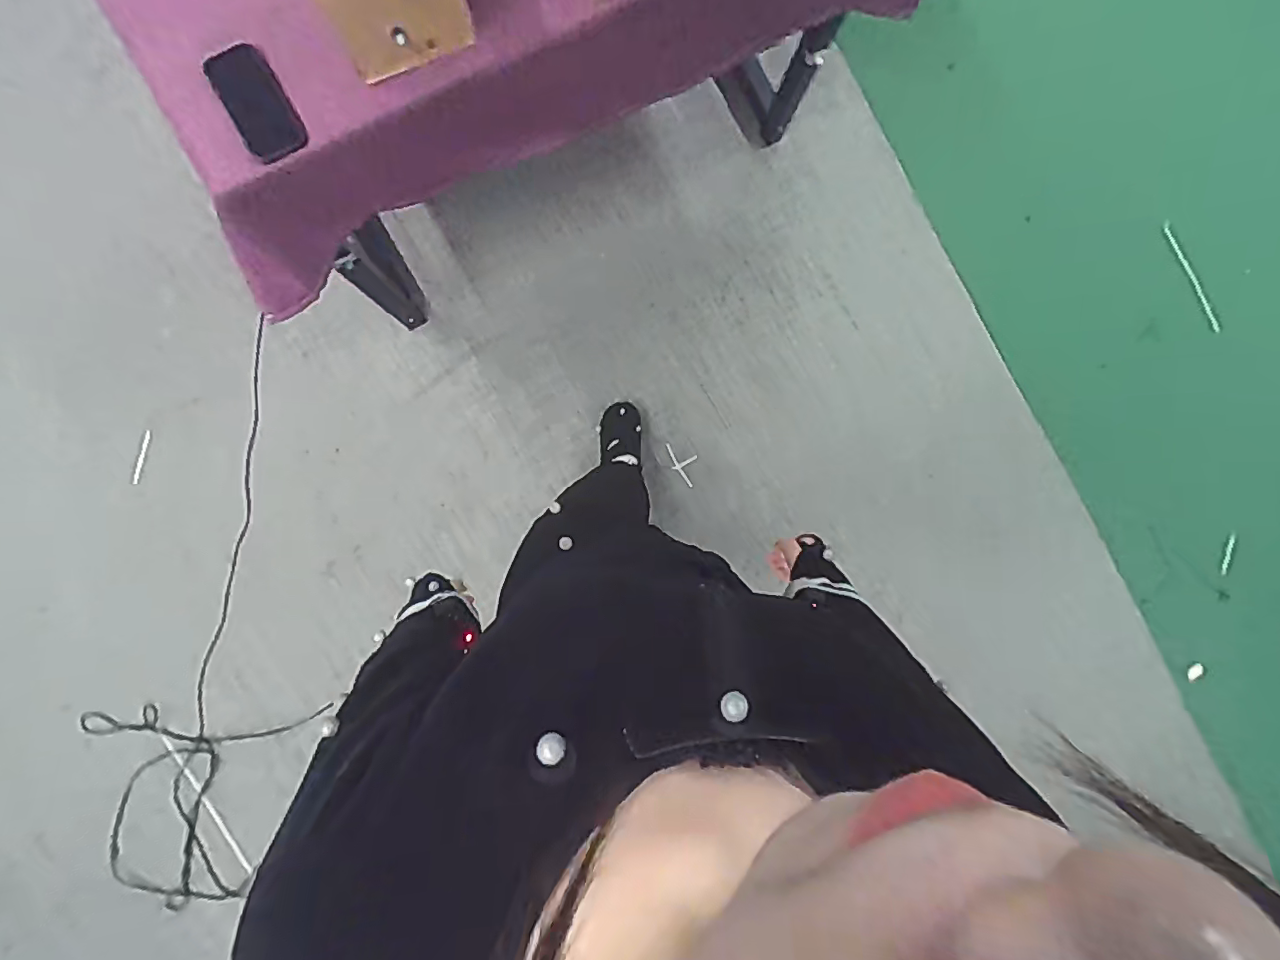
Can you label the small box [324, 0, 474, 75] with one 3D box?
[{"bbox_3d":[-0.326,-0.658,0.661,0.168,0.176,0.179,-24,92,-5],"label":"small box"}]
